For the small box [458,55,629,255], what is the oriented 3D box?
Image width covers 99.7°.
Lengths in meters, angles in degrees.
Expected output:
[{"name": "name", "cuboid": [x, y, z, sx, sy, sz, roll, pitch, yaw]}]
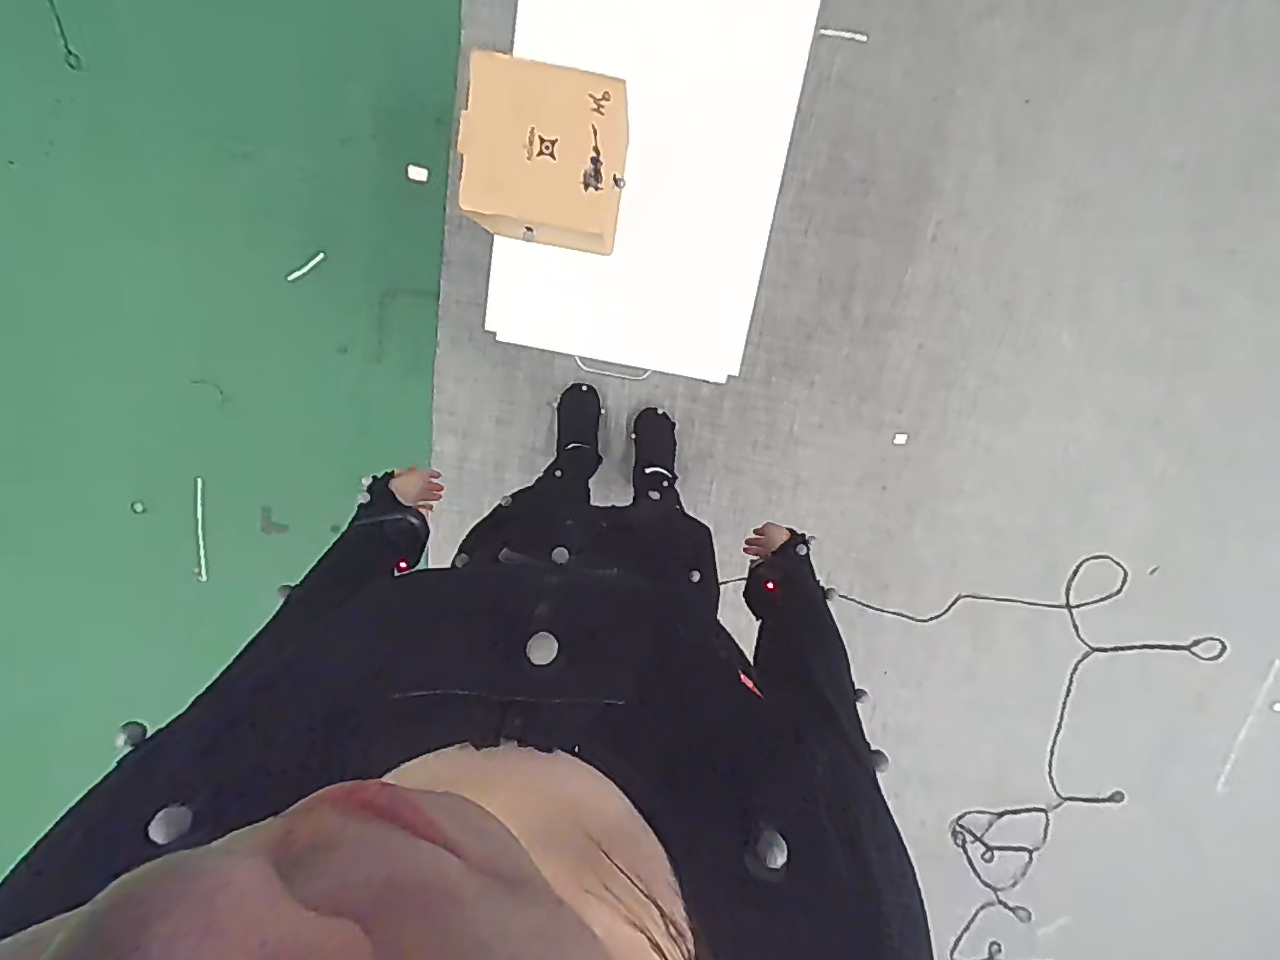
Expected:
[{"name": "small box", "cuboid": [-0.113, -0.397, 0.693, 0.179, 0.176, 0.168, 9, 105, -2]}]
